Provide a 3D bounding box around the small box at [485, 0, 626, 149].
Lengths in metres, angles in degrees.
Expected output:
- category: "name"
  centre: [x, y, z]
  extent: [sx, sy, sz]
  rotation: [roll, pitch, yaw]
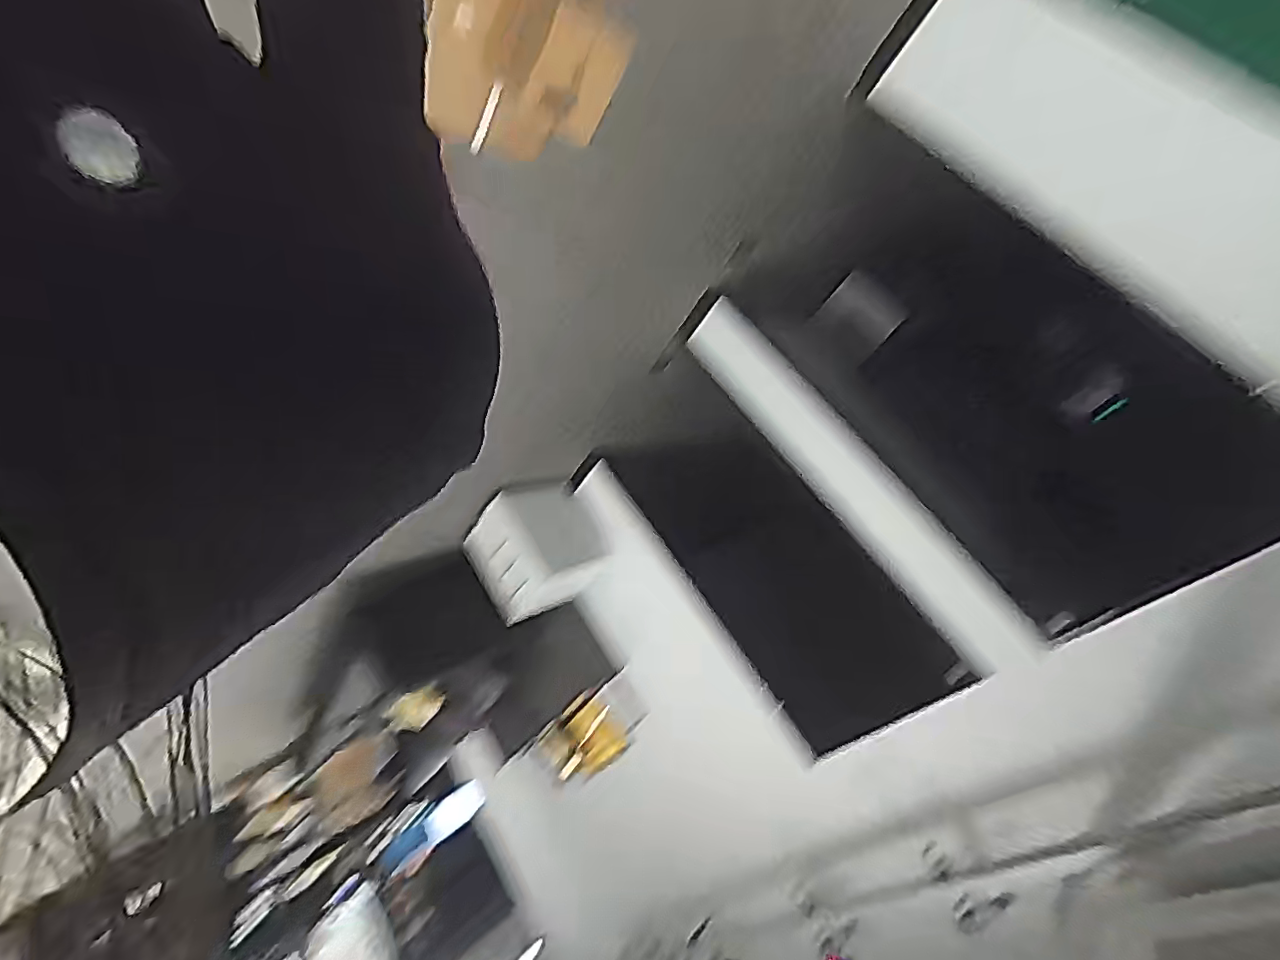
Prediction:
- category: "small box"
  centre: [-0.161, -0.757, 0.982]
  extent: [0.168, 0.176, 0.179]
  rotation: [-6, 145, -46]
